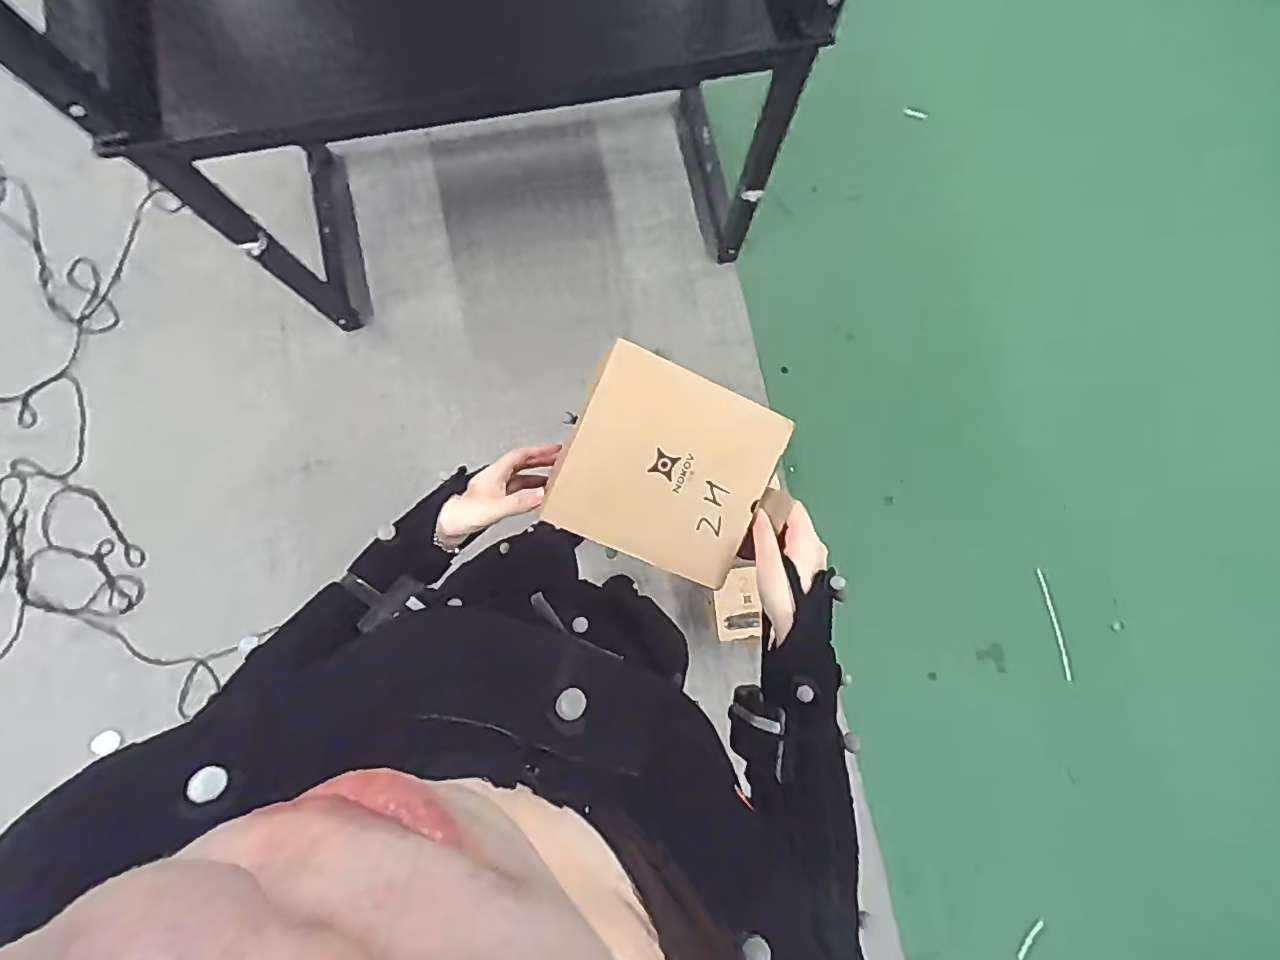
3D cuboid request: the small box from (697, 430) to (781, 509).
[{"bbox_3d":[0.256,-0.022,1.453,0.179,0.176,0.168,-13,83,-3],"label":"small box"}]
